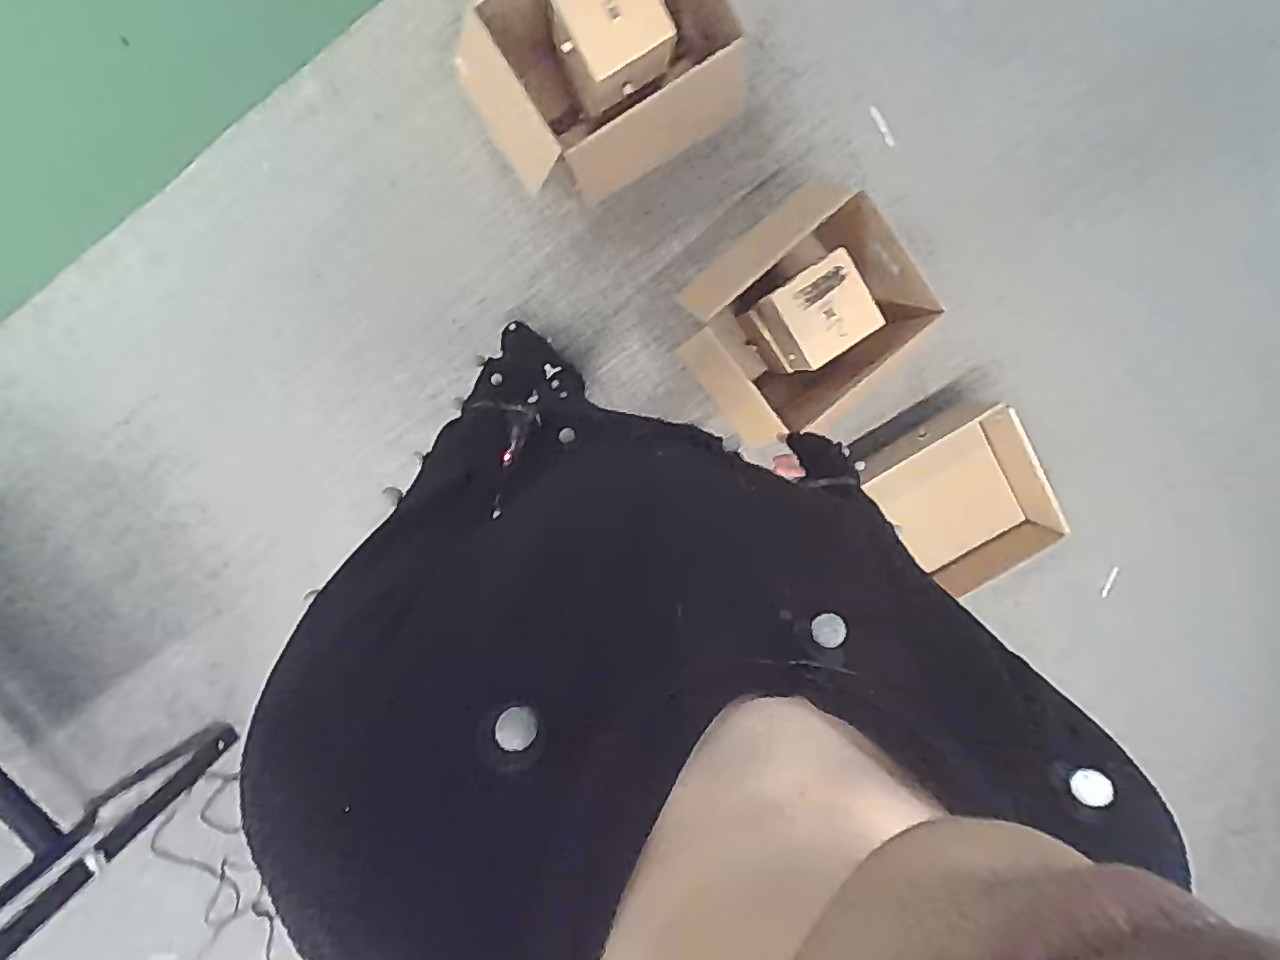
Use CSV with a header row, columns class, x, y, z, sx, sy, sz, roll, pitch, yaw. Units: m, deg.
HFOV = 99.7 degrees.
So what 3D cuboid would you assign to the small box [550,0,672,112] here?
class,x,y,z,sx,sy,sz,roll,pitch,yaw
small box,-0.054,-0.856,1.043,0.168,0.176,0.179,-30,101,3
